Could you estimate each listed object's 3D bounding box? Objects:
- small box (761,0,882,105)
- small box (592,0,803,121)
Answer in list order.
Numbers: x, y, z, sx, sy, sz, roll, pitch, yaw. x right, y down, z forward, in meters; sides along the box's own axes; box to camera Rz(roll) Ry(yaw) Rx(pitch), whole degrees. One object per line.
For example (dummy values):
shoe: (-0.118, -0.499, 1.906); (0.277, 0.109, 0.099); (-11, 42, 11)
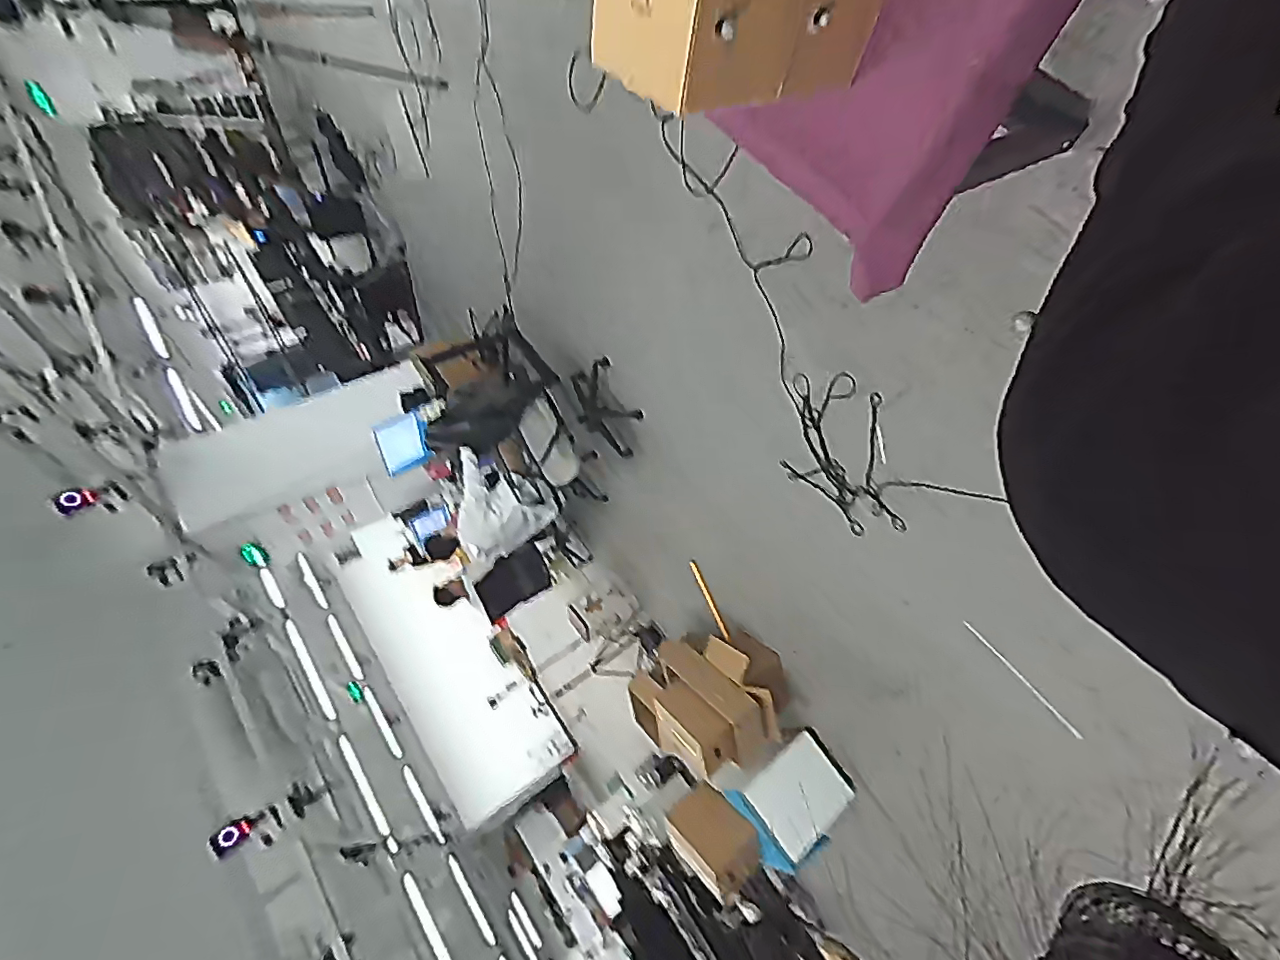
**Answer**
small box: (0.189, -0.608, 0.672); (0.168, 0.176, 0.179); (48, 151, 23)
small box: (0.066, -0.536, 0.595); (0.168, 0.176, 0.179); (46, 151, 24)
